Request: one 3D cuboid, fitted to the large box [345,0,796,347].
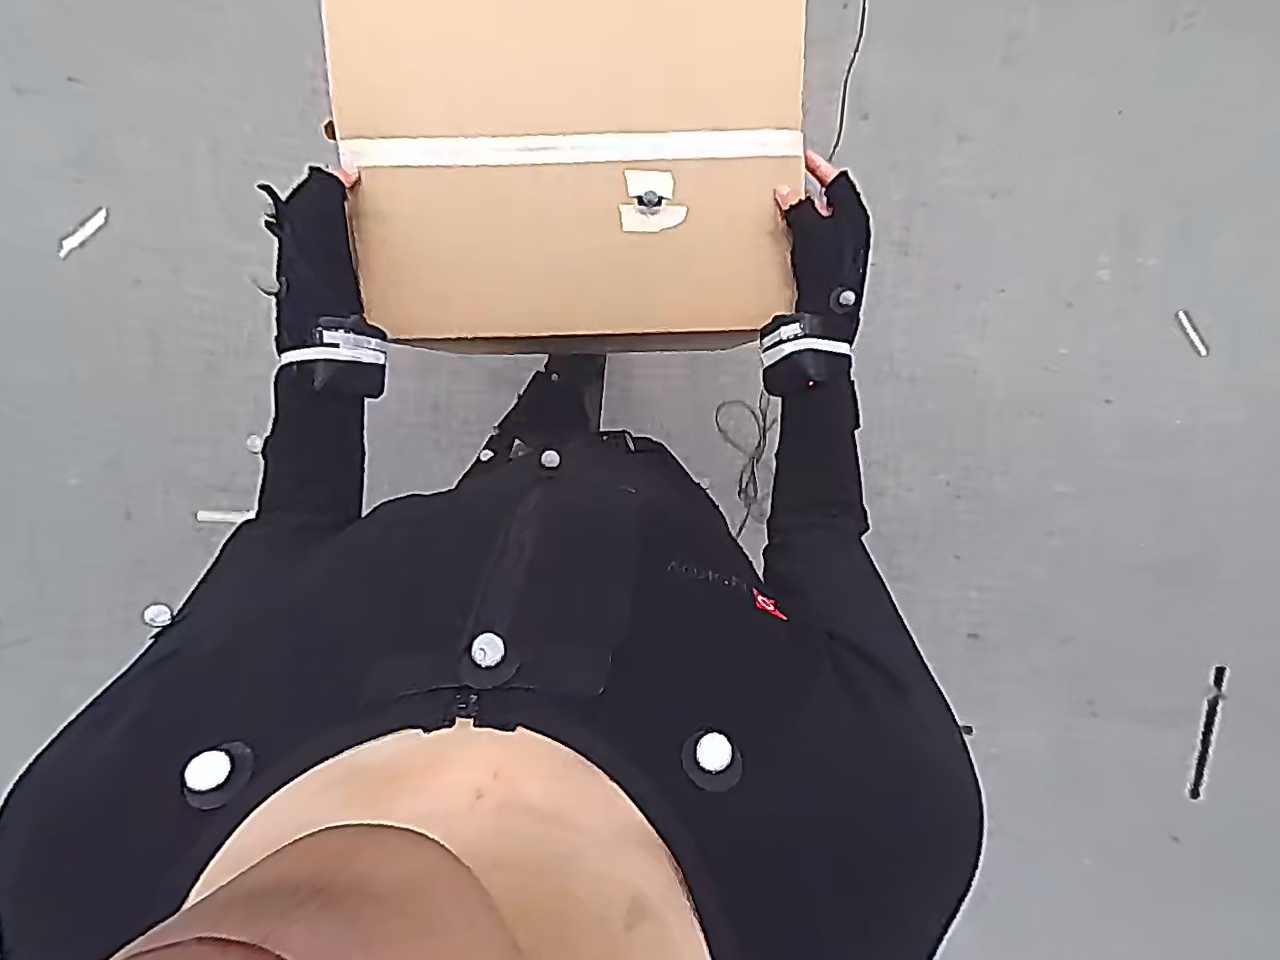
[{"bbox_3d":[-0.061,-0.333,0.642,0.408,0.320,0.320,-2,101,-2],"label":"large box"}]
